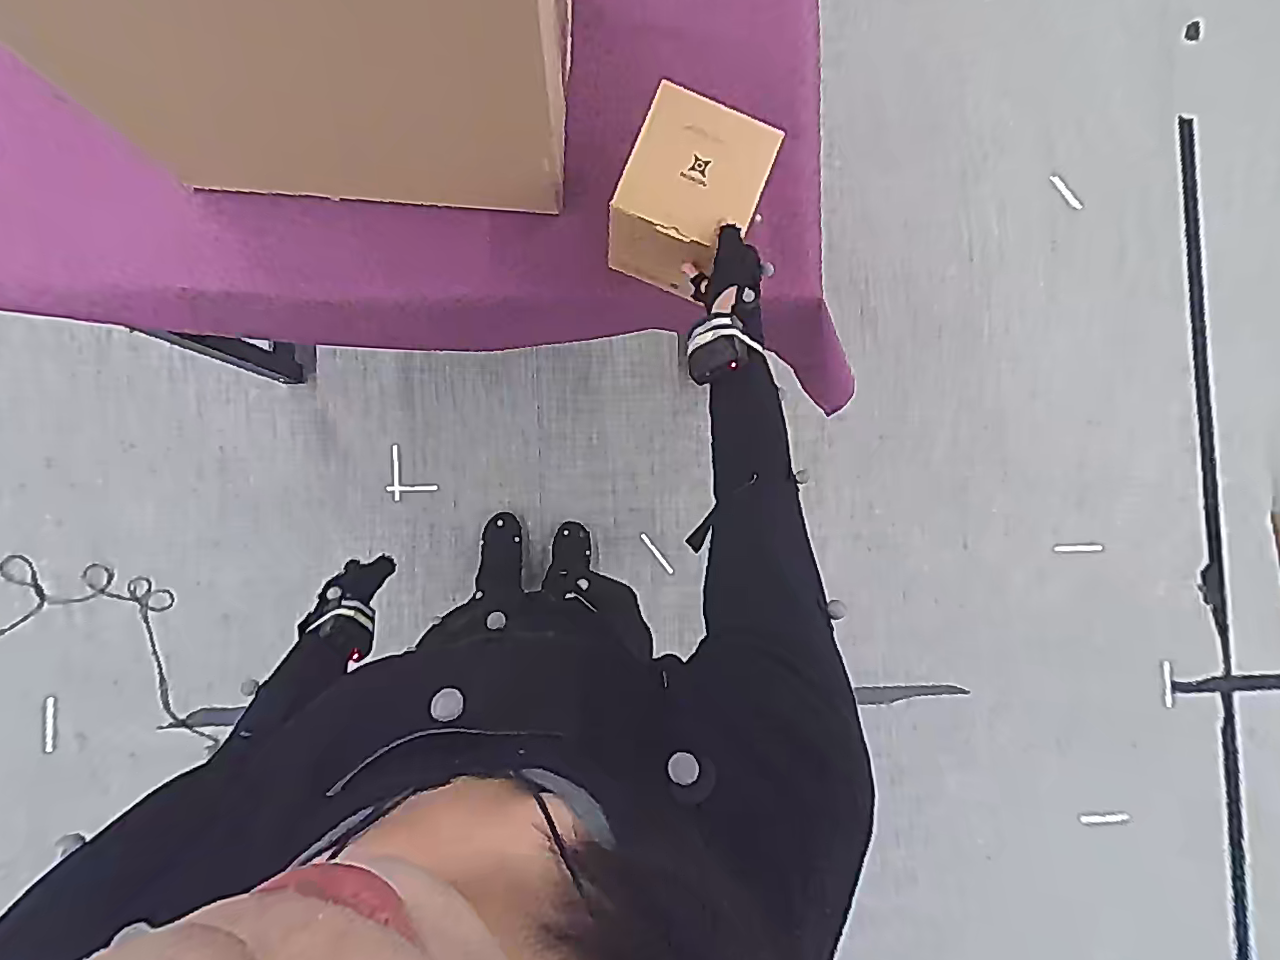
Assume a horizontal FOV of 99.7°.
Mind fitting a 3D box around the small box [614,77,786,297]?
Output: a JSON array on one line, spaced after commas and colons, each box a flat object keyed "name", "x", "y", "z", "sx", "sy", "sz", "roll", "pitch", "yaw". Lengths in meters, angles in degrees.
[{"name": "small box", "x": 0.070, "y": -0.378, "z": 0.735, "sx": 0.168, "sy": 0.176, "sz": 0.179, "roll": 21, "pitch": 85, "yaw": -4}]
